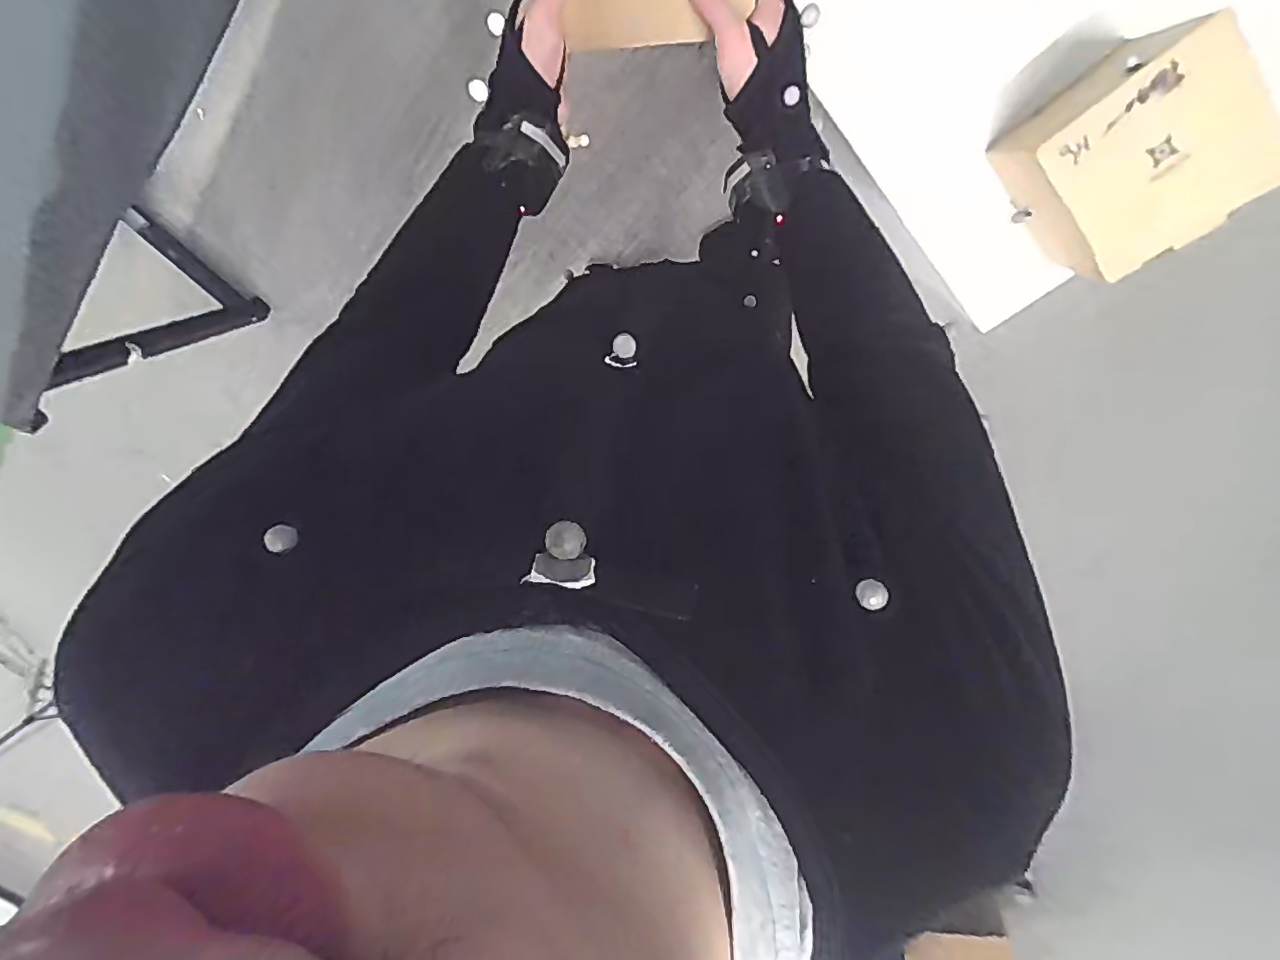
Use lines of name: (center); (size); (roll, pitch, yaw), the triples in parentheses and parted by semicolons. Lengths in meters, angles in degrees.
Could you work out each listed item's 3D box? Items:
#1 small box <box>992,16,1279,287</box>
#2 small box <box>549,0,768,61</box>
small box: (0.537, -0.352, 0.600); (0.168, 0.176, 0.179); (-34, 108, 28)
small box: (0.017, -0.471, 0.454); (0.179, 0.176, 0.168); (1, 132, 9)
